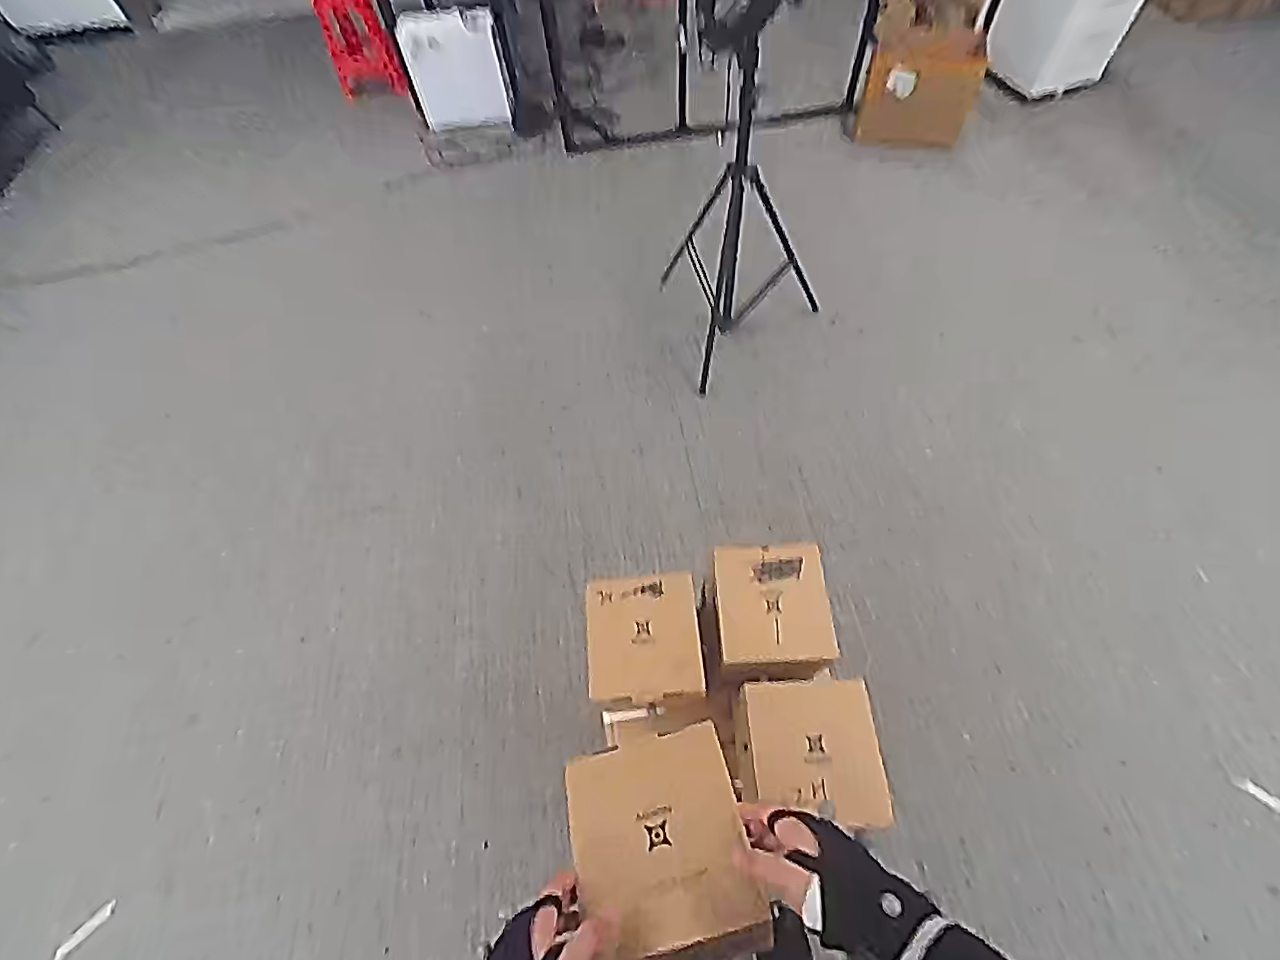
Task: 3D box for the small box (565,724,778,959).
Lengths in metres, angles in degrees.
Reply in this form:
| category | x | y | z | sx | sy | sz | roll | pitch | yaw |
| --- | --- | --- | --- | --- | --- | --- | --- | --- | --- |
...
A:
| category | x | y | z | sx | sy | sz | roll | pitch | yaw |
| --- | --- | --- | --- | --- | --- | --- | --- | --- | --- |
| small box | 0.030 | 0.388 | 0.552 | 0.168 | 0.176 | 0.179 | -16 | 42 | -3 |
